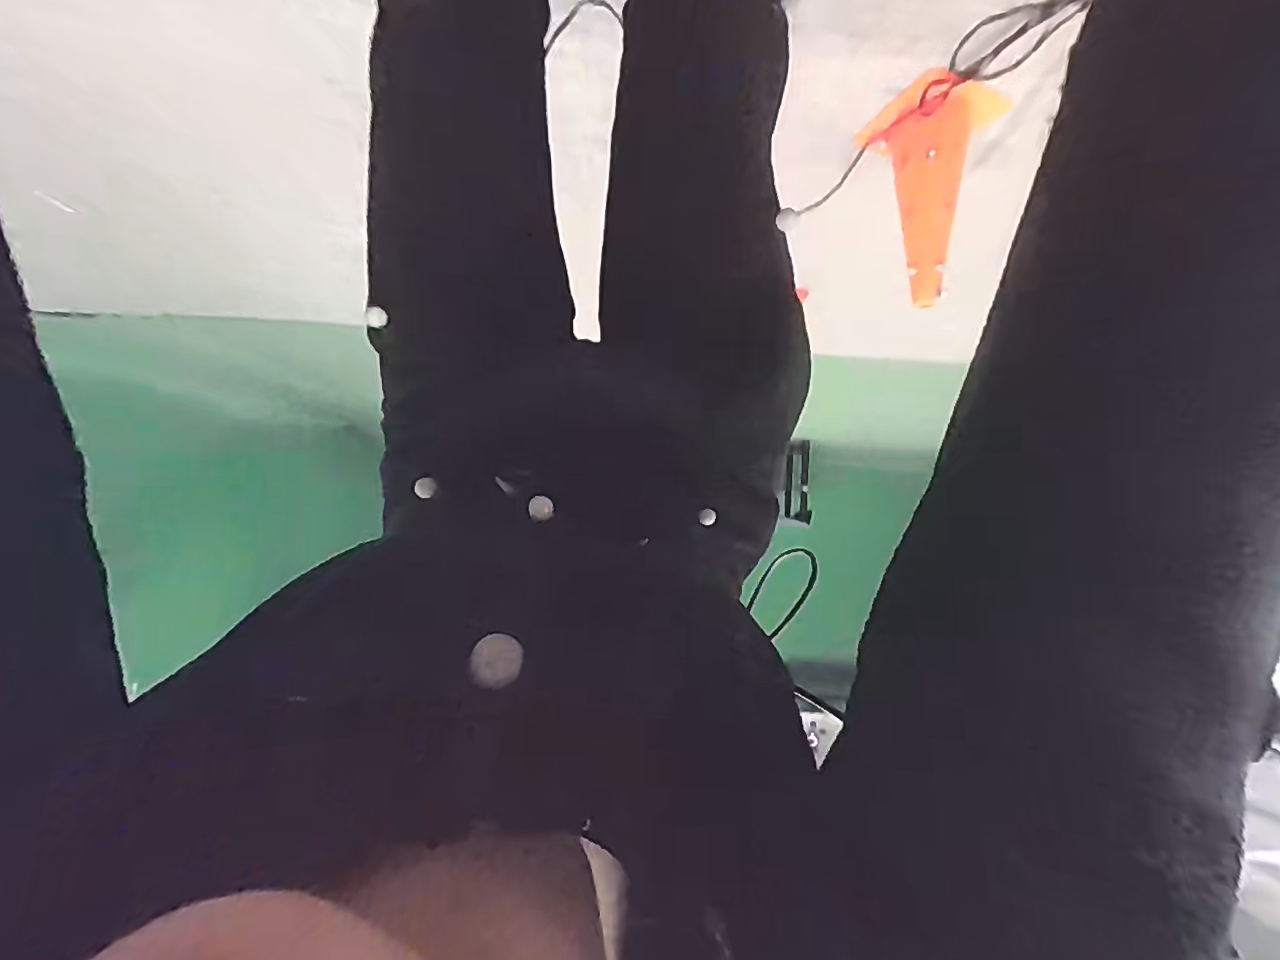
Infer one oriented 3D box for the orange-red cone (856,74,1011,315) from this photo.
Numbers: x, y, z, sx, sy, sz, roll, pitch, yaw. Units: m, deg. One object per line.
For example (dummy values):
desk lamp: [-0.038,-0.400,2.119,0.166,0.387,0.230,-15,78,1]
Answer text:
orange-red cone: [0.524,-0.480,0.982,0.199,0.360,0.198,4,176,-21]
